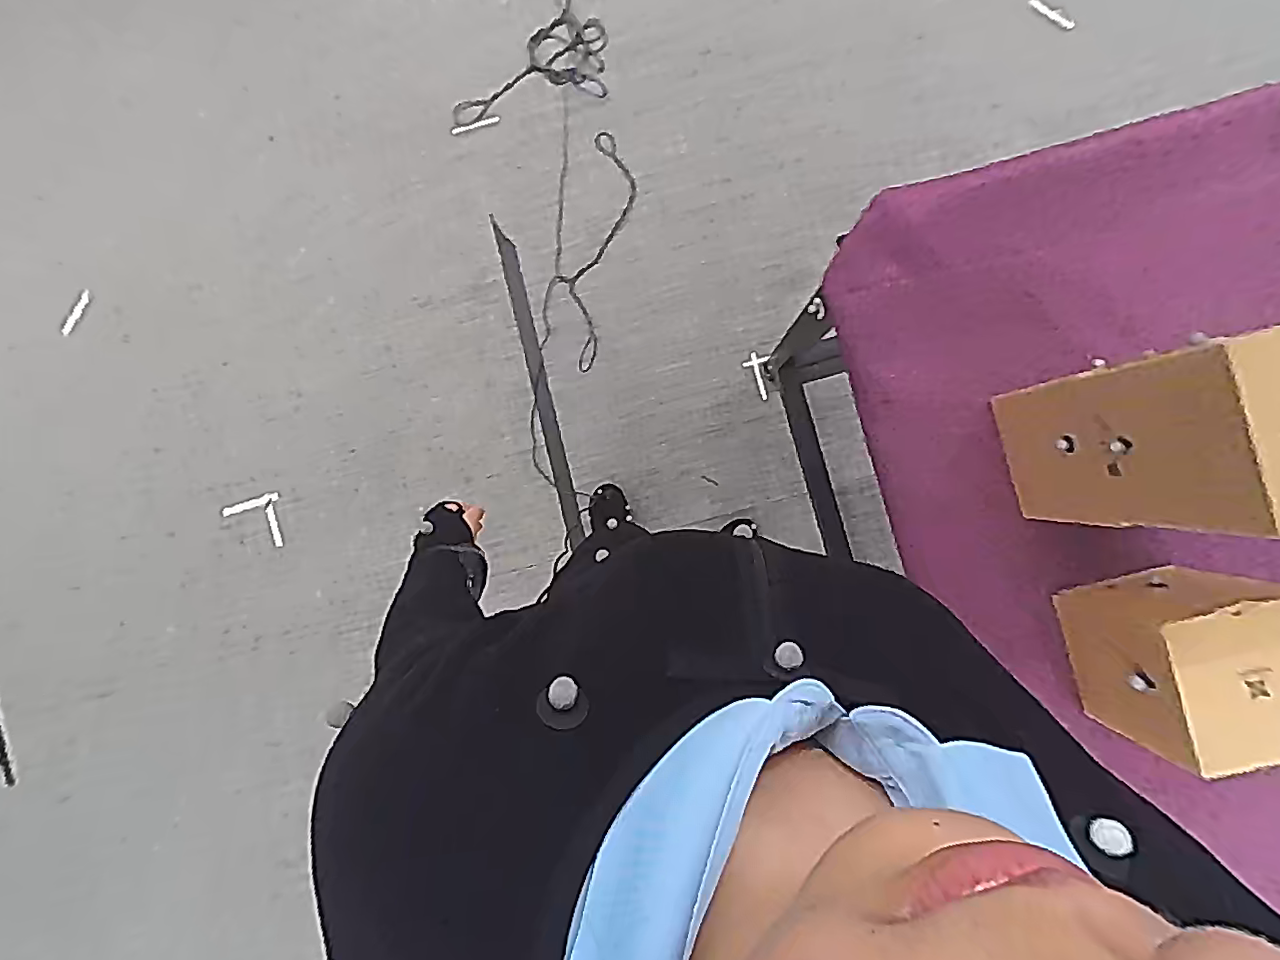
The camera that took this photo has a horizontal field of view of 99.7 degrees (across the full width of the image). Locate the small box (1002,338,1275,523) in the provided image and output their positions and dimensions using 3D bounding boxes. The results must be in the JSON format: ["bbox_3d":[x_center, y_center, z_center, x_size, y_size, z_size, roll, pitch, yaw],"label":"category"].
[{"bbox_3d":[0.592,-0.052,0.671,0.168,0.176,0.179,-15,89,3],"label":"small box"}]

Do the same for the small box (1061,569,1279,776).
[{"bbox_3d":[0.673,0.221,0.664,0.168,0.176,0.179,-14,88,3],"label":"small box"}]
